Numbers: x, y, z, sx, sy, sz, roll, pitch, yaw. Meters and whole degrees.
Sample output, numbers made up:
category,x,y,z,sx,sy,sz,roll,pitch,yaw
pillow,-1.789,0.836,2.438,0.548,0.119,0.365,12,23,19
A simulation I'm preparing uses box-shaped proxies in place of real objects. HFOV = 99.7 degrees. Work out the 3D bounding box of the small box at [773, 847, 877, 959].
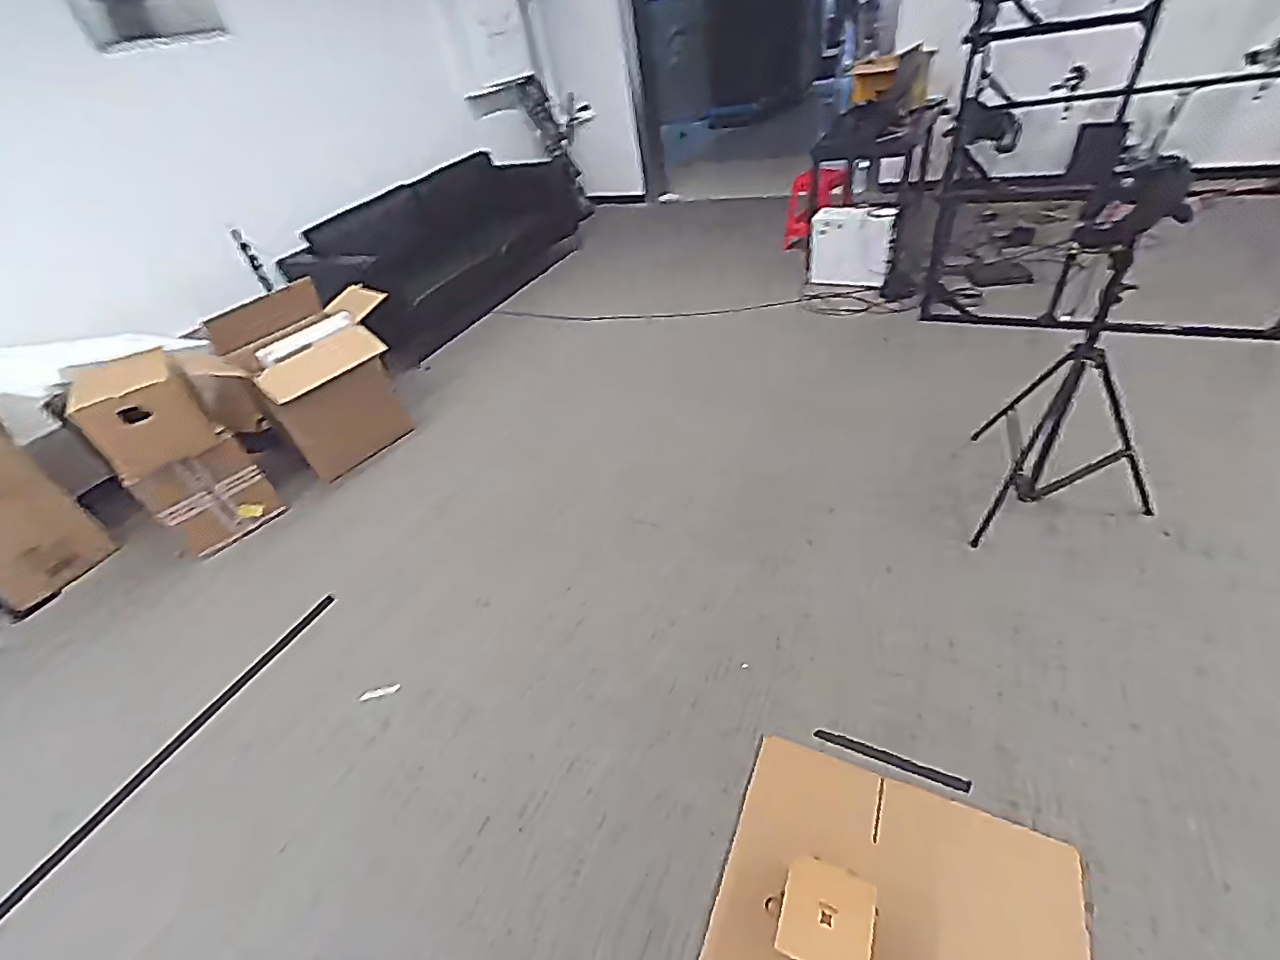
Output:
category,x,y,z,sx,sy,sz,roll,pitch,yaw
small box,0.372,0.890,1.088,0.168,0.176,0.179,10,45,23
